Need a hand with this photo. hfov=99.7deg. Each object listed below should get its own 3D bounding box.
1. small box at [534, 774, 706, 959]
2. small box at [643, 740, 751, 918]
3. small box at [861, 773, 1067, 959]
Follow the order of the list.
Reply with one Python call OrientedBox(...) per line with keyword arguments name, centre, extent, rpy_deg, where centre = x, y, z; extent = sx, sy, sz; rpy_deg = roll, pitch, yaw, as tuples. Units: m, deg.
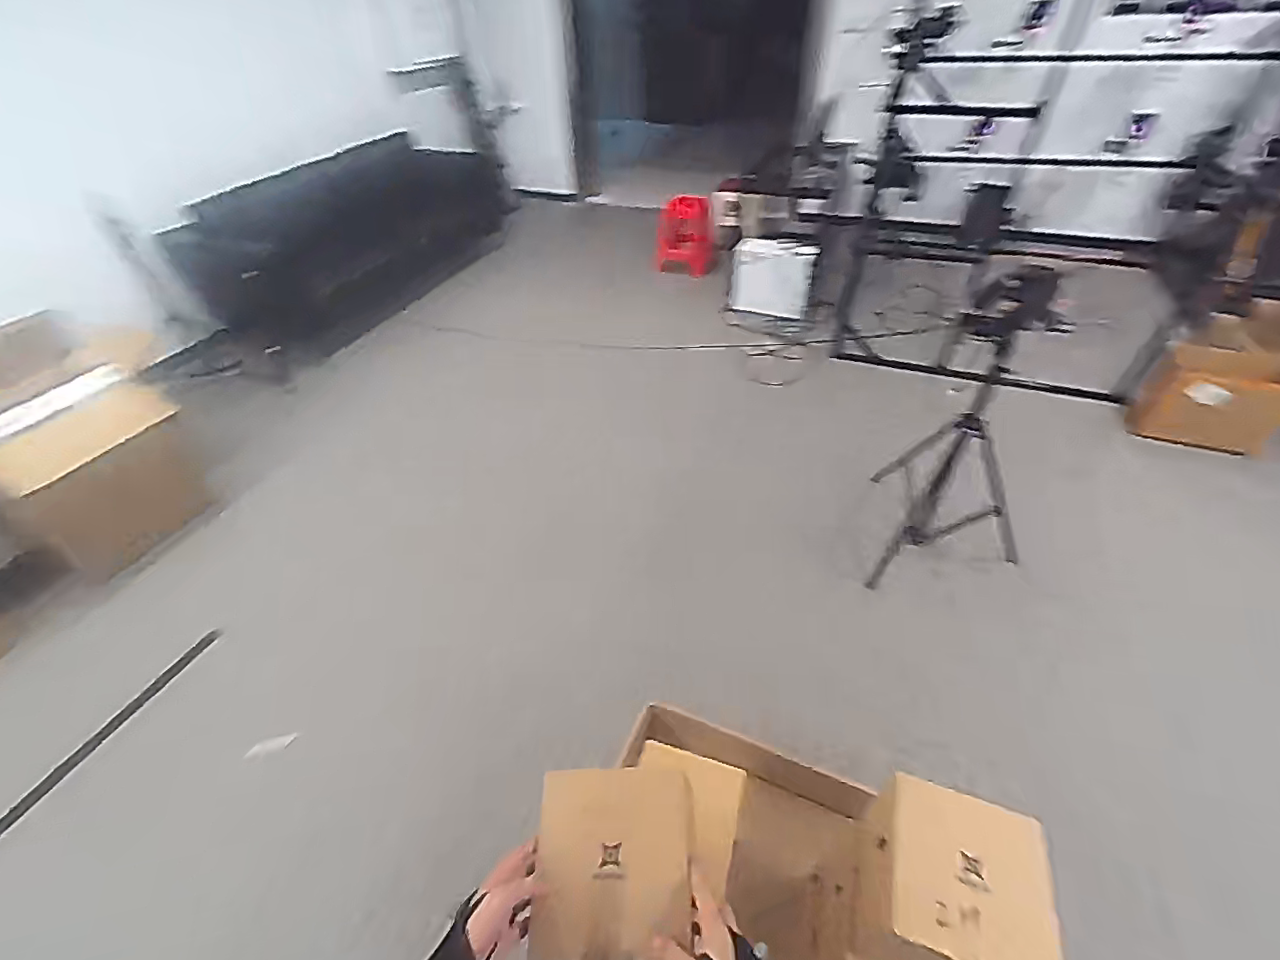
OrientedBox(name="small box", centre=(-0.013, 0.453, 0.632), extent=(0.168, 0.176, 0.179), rpy_deg=(-5, 54, 6))
OrientedBox(name="small box", centre=(0.073, 0.556, 0.864), extent=(0.168, 0.176, 0.179), rpy_deg=(11, 46, 15))
OrientedBox(name="small box", centre=(0.380, 0.505, 0.663), extent=(0.168, 0.176, 0.179), rpy_deg=(14, 46, 16))
